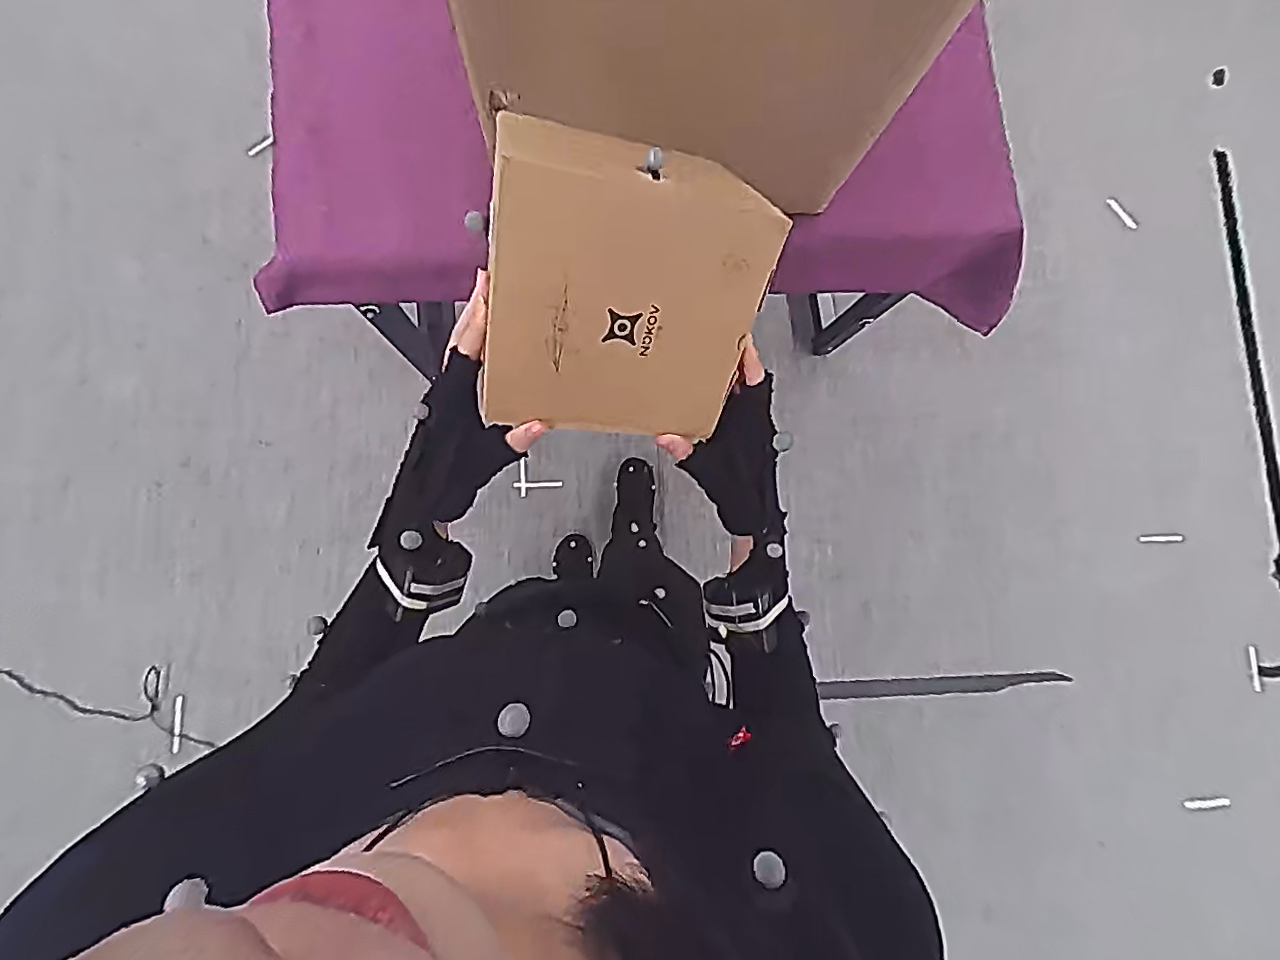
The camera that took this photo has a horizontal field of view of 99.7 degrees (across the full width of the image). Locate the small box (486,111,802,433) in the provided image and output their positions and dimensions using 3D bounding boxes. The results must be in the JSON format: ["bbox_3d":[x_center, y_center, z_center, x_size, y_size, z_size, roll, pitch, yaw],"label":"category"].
[{"bbox_3d":[-0.019,-0.153,0.399,0.179,0.176,0.168,2,128,-16],"label":"small box"}]
